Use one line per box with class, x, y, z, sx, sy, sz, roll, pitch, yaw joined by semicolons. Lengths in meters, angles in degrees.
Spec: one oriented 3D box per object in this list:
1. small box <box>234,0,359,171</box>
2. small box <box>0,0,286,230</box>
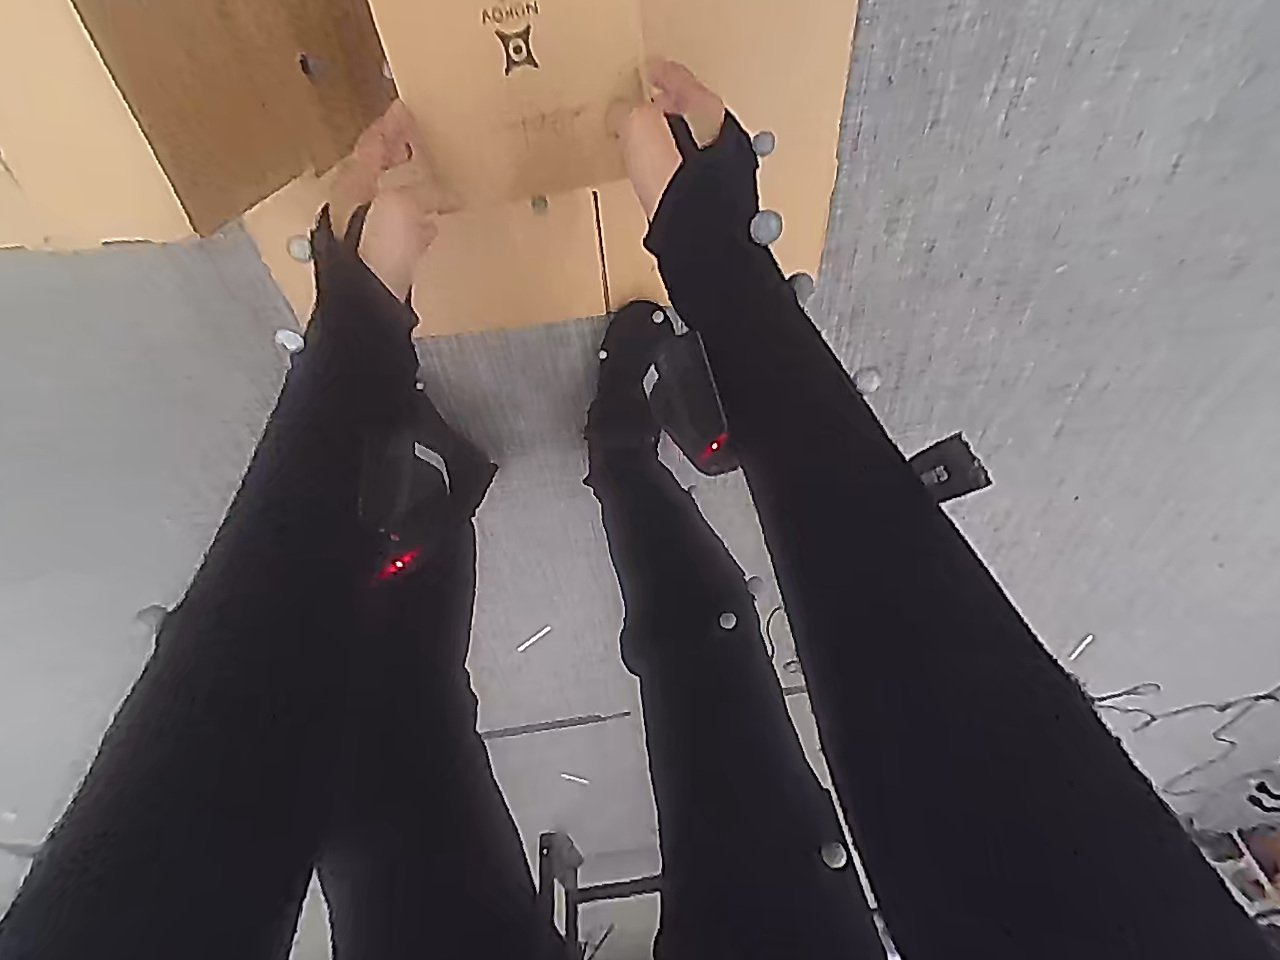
small box;-0.363;-0.371;0.446;0.168;0.176;0.179;-5;133;-3
small box;-0.355;-0.265;0.319;0.168;0.176;0.179;-4;133;-3
